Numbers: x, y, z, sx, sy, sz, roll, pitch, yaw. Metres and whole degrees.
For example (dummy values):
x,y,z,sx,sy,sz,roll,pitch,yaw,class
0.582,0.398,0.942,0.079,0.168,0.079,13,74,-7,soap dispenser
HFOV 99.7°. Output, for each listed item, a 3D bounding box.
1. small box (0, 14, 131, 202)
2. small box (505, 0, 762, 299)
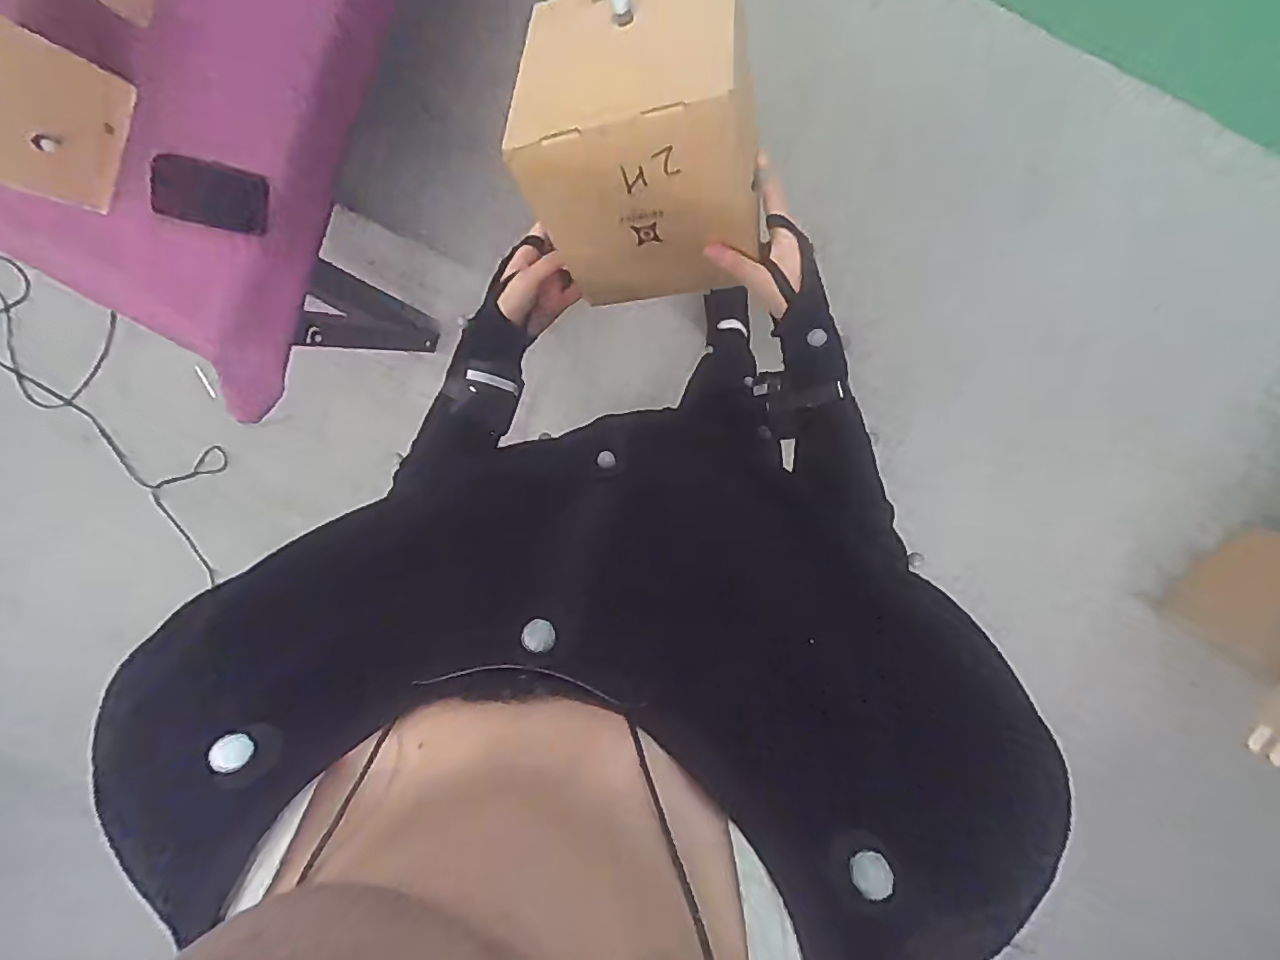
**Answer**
x,y,z,sx,sy,sz,roll,pitch,yaw,class
-0.751,-0.447,0.618,0.179,0.176,0.168,26,102,-2,small box
0.013,-0.285,0.453,0.168,0.179,0.176,-4,66,17,small box
